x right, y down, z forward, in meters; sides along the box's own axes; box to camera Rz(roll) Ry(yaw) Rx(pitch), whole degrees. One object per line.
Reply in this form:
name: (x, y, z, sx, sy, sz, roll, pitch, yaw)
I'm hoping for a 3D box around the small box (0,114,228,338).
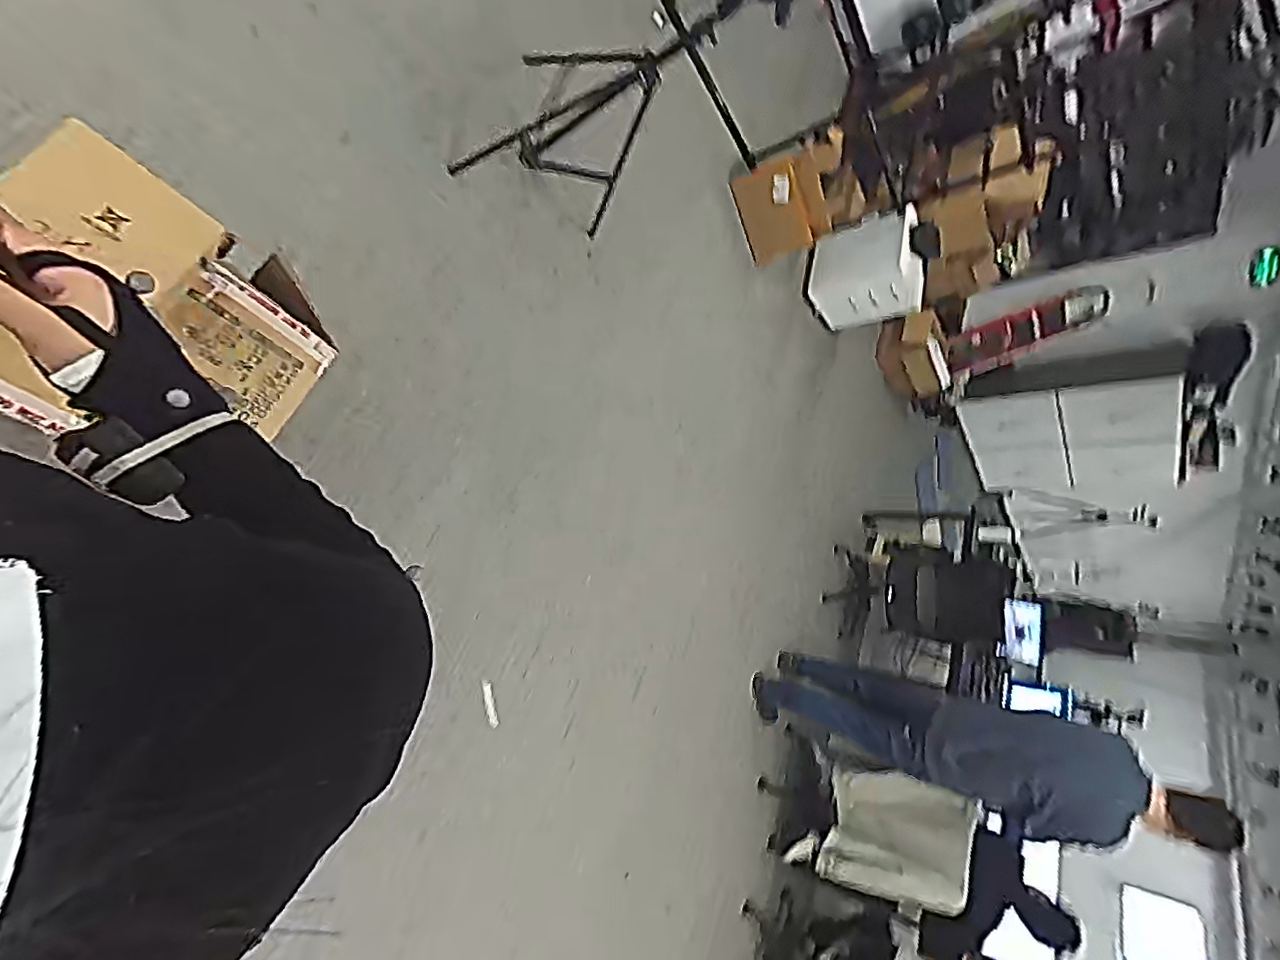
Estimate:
small box: (-0.688, -0.313, 0.700, 0.168, 0.176, 0.179, 40, 63, -36)
